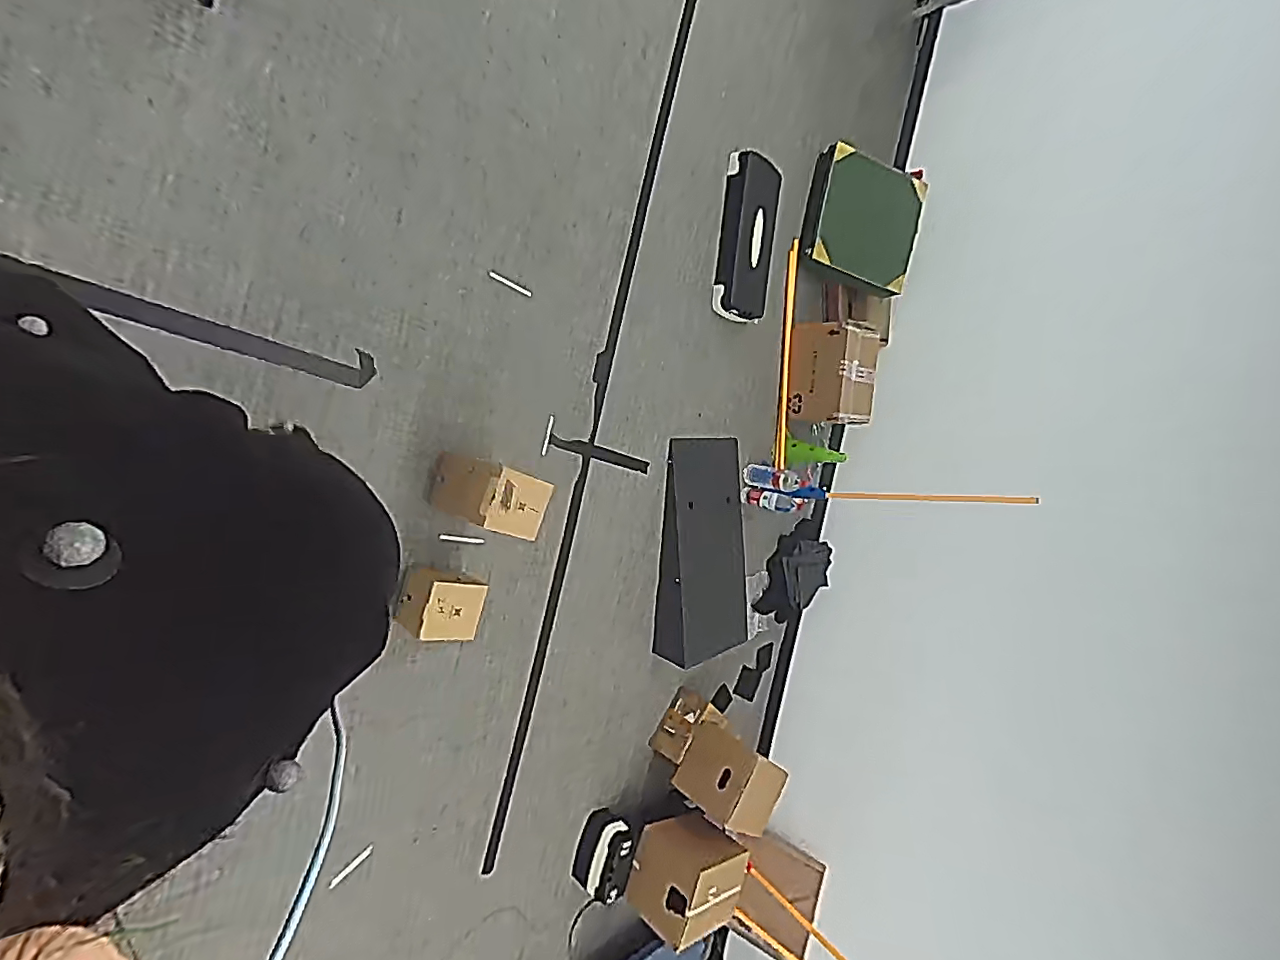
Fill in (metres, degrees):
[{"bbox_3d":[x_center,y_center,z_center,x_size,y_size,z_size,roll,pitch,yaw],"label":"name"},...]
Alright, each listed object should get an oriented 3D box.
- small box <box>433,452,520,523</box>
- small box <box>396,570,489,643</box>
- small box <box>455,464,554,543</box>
[{"bbox_3d":[-0.486,0.030,1.590,0.168,0.176,0.179,18,87,-47],"label":"small box"},{"bbox_3d":[-0.576,0.366,1.575,0.179,0.176,0.168,17,86,-47],"label":"small box"},{"bbox_3d":[-0.373,0.060,1.472,0.179,0.176,0.168,24,82,-47],"label":"small box"}]
